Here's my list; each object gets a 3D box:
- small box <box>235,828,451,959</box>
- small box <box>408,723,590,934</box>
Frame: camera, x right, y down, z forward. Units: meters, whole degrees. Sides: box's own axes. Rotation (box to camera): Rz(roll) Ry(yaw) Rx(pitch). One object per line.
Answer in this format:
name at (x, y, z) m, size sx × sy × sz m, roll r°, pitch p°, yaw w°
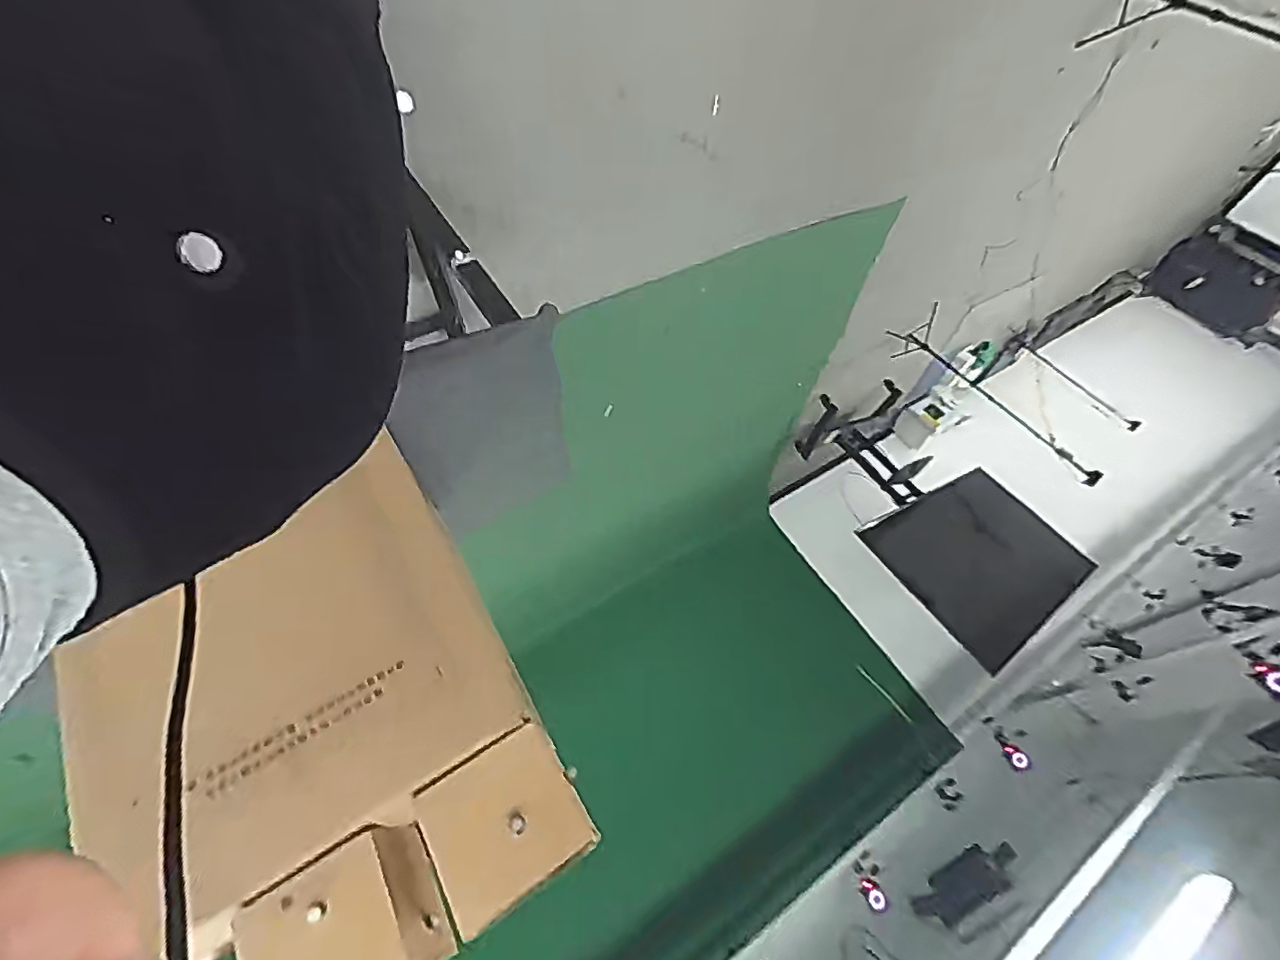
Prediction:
small box at (-0.370, 0.577, 0.691) m, size 0.168 × 0.176 × 0.179 m, roll -28°, pitch 152°, yaw -18°
small box at (-0.188, 0.469, 0.752) m, size 0.179 × 0.176 × 0.168 m, roll -29°, pitch 153°, yaw -19°
